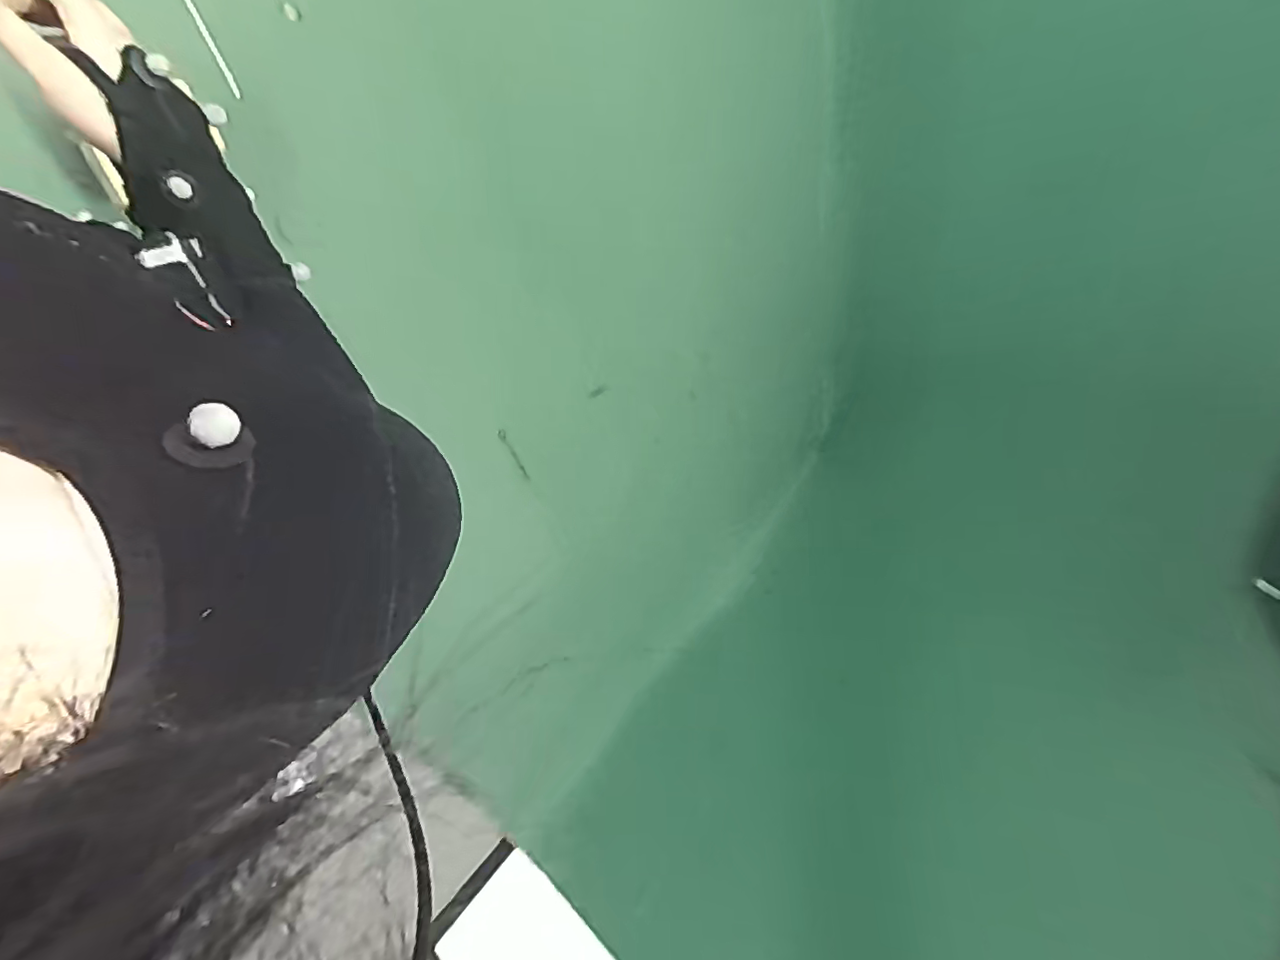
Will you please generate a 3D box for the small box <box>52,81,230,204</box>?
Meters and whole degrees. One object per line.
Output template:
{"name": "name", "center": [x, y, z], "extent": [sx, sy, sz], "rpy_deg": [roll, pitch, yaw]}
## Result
{"name": "small box", "center": [-0.891, -0.601, 0.970], "extent": [0.179, 0.176, 0.168], "rpy_deg": [-35, 132, -35]}
